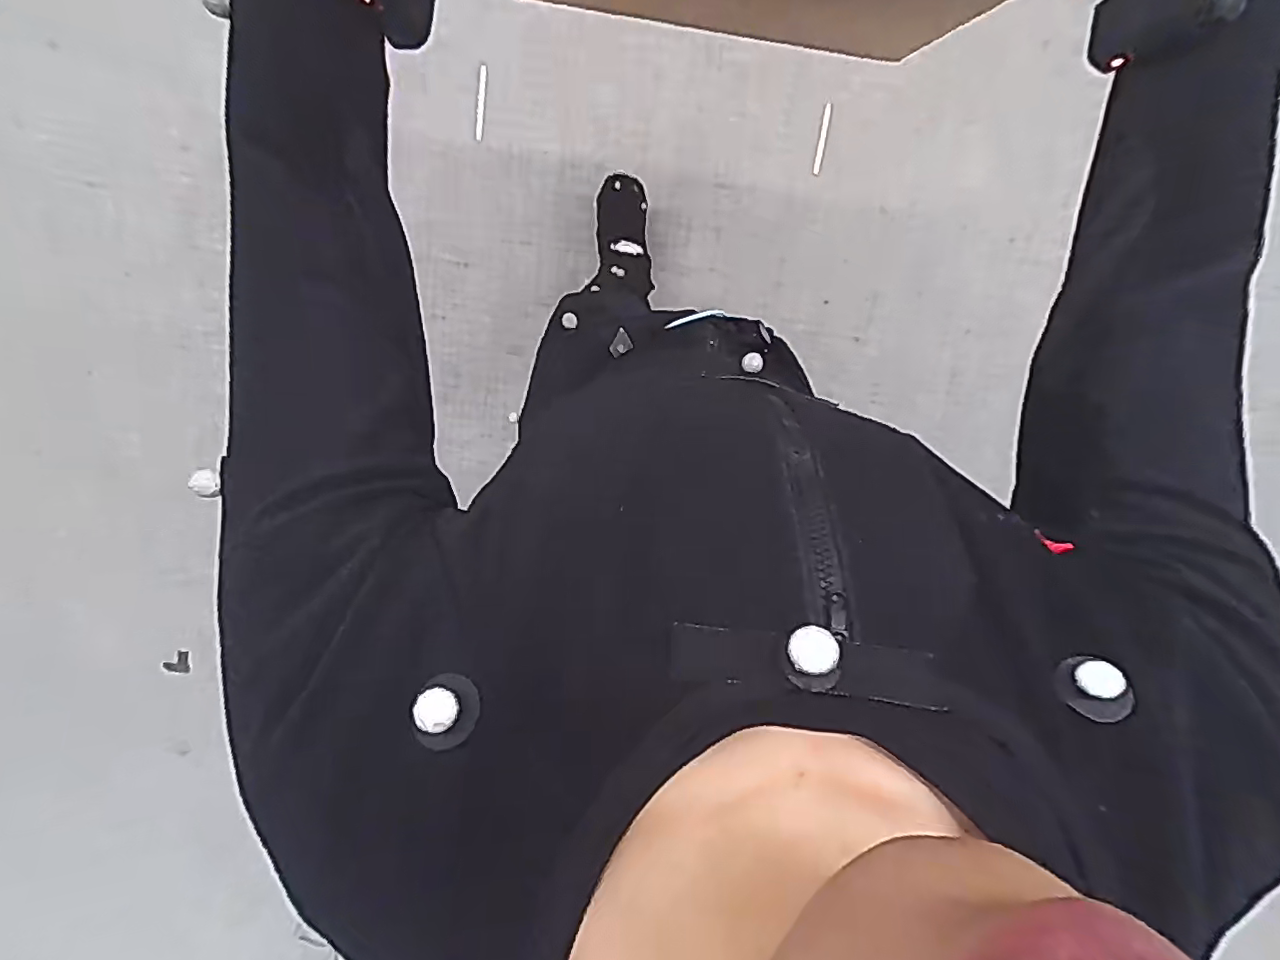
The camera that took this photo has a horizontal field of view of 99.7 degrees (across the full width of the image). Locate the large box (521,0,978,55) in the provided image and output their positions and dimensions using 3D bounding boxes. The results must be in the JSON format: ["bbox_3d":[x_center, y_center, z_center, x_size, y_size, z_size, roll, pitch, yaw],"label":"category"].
[{"bbox_3d":[0.089,-0.533,0.358,0.408,0.320,0.320,5,117,-5],"label":"large box"}]
